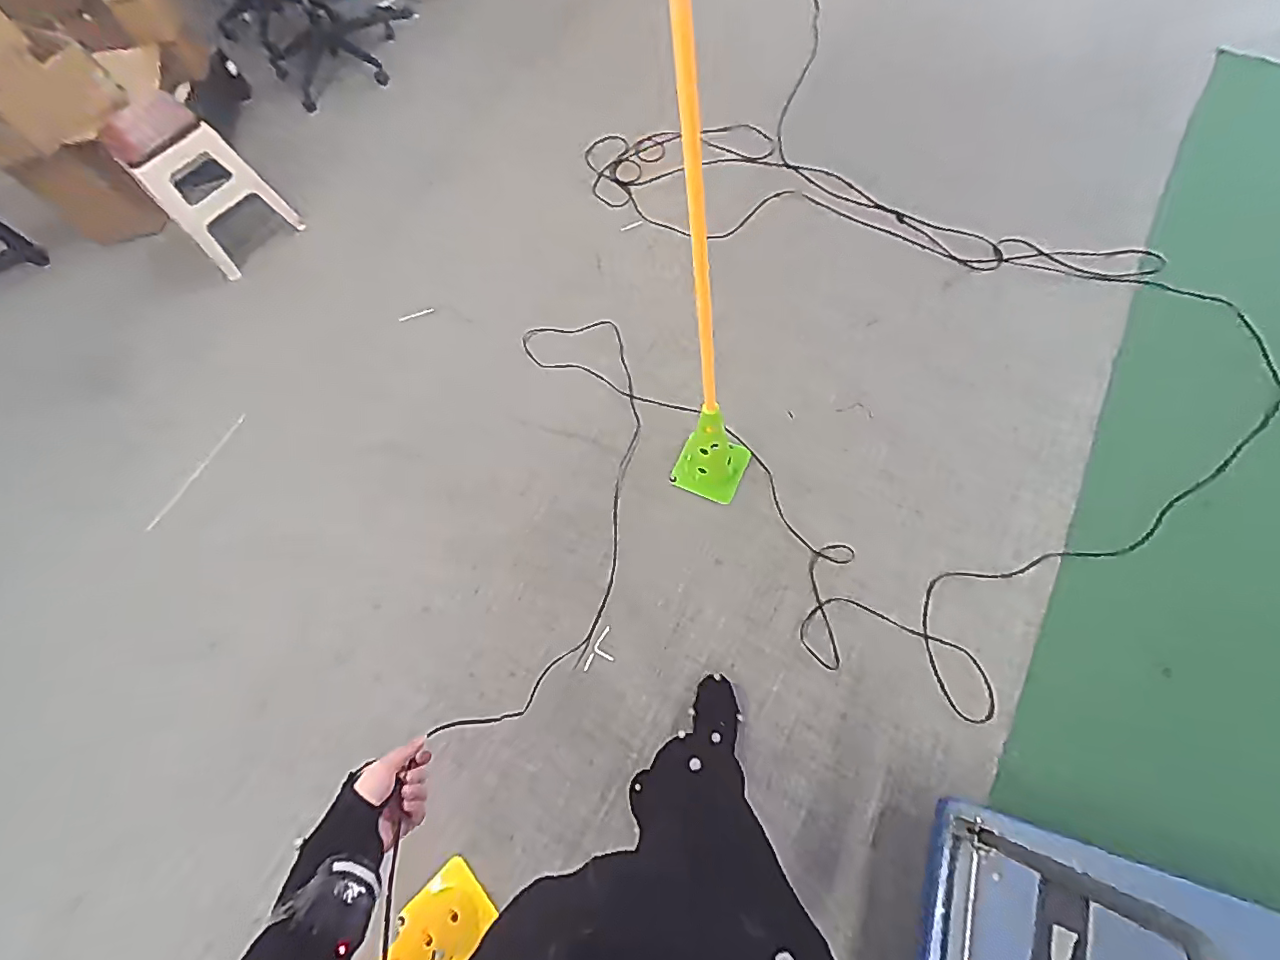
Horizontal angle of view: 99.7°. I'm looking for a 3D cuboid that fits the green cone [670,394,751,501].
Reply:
[{"bbox_3d":[0.198,-0.117,1.479,0.200,0.368,0.202,22,70,15],"label":"green cone"}]
